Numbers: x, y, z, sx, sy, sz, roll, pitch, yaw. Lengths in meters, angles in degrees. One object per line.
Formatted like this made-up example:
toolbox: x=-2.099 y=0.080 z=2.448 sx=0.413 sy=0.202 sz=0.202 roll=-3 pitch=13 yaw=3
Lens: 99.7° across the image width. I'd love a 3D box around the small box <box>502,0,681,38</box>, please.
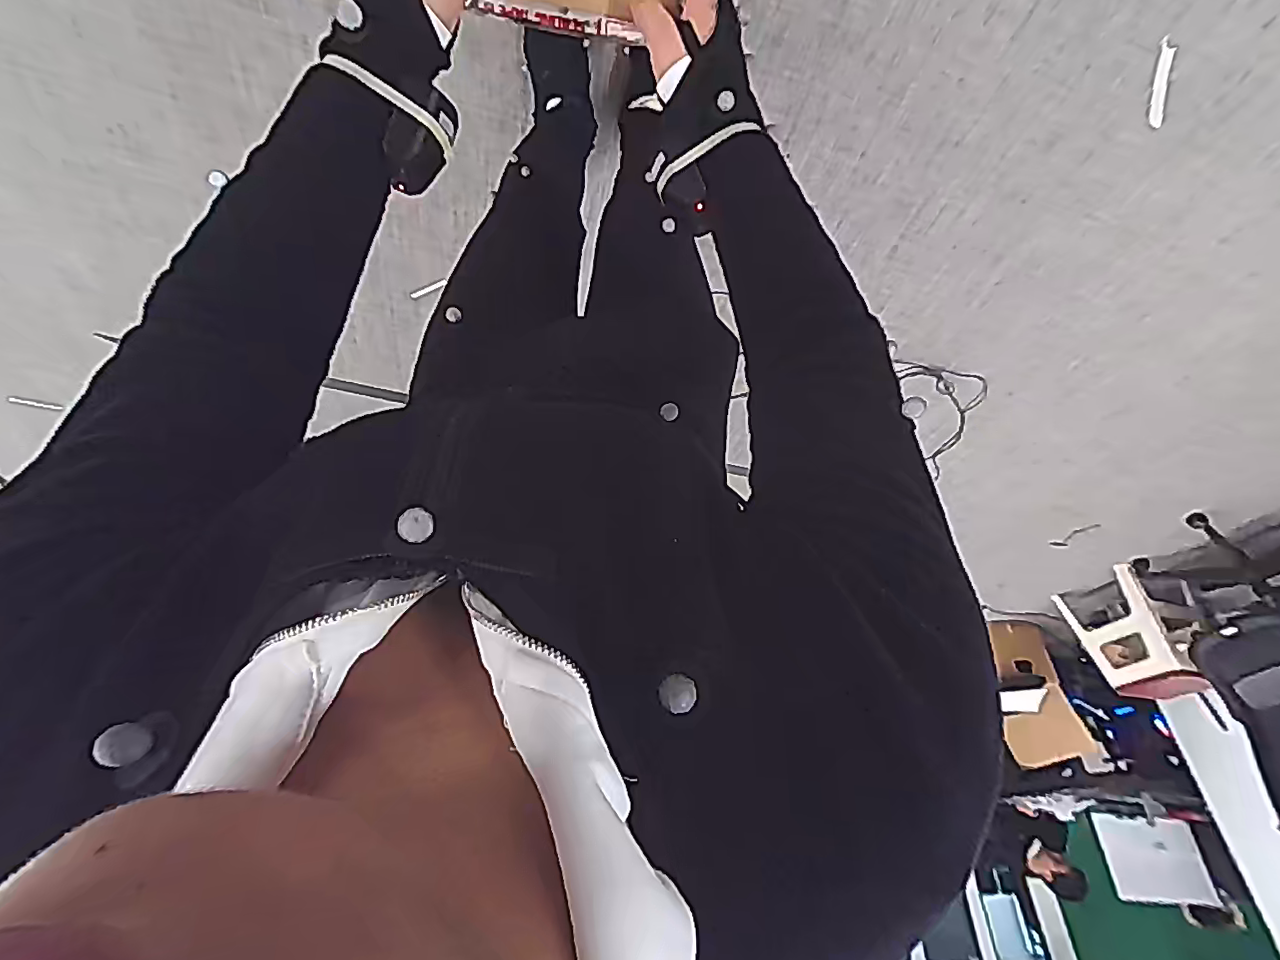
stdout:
small box: x=-0.045 y=-0.486 z=0.426 sx=0.179 sy=0.176 sz=0.168 roll=7 pitch=138 yaw=-8
